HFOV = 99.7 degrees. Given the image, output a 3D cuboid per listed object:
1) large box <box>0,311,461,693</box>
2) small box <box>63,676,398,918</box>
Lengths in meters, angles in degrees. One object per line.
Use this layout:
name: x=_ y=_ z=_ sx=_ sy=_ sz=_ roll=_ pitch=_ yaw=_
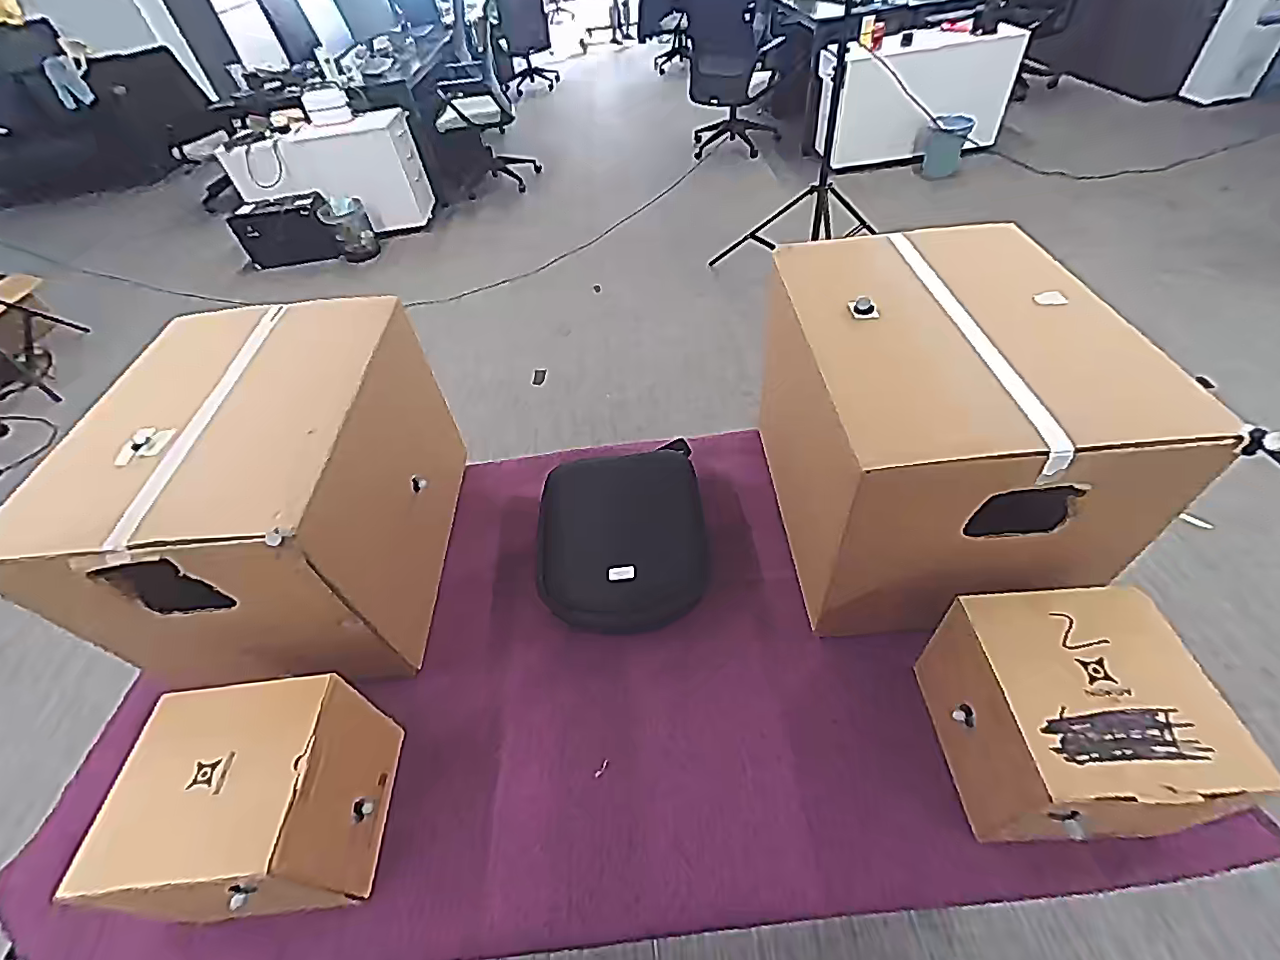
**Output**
large box: x=-0.459 y=0.027 z=0.729 sx=0.320 sy=0.320 sz=0.408 roll=-6 pitch=50 yaw=1
small box: x=-0.379 y=0.322 z=0.545 sx=0.179 sy=0.176 sz=0.168 roll=-8 pitch=46 yaw=0
